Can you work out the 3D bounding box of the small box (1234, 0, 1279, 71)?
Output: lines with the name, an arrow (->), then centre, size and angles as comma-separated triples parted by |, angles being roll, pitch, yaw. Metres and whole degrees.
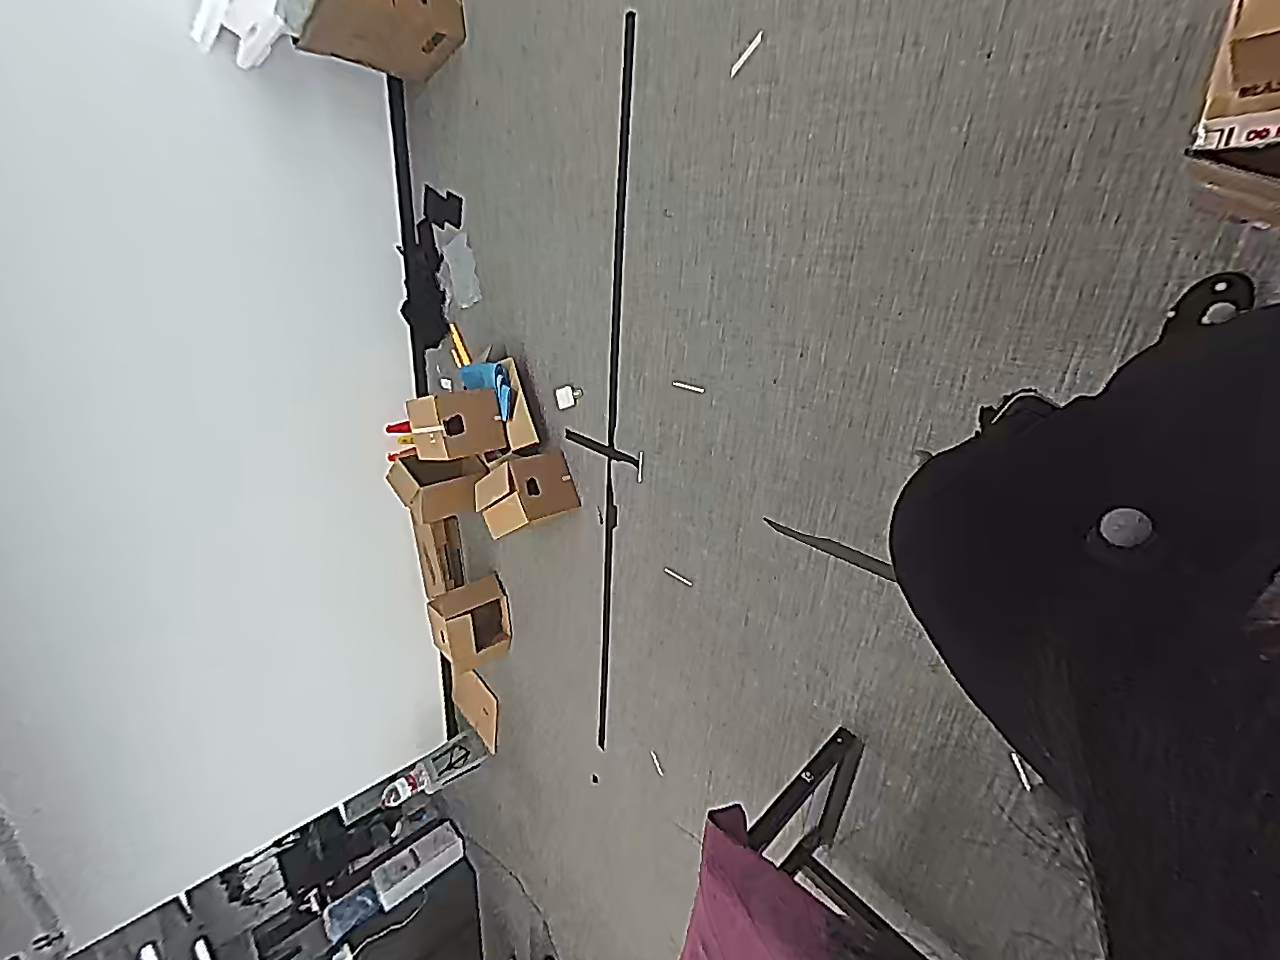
small box -> 0.719, -0.530, 0.516 | 0.179, 0.176, 0.168 | 16, 113, 45
